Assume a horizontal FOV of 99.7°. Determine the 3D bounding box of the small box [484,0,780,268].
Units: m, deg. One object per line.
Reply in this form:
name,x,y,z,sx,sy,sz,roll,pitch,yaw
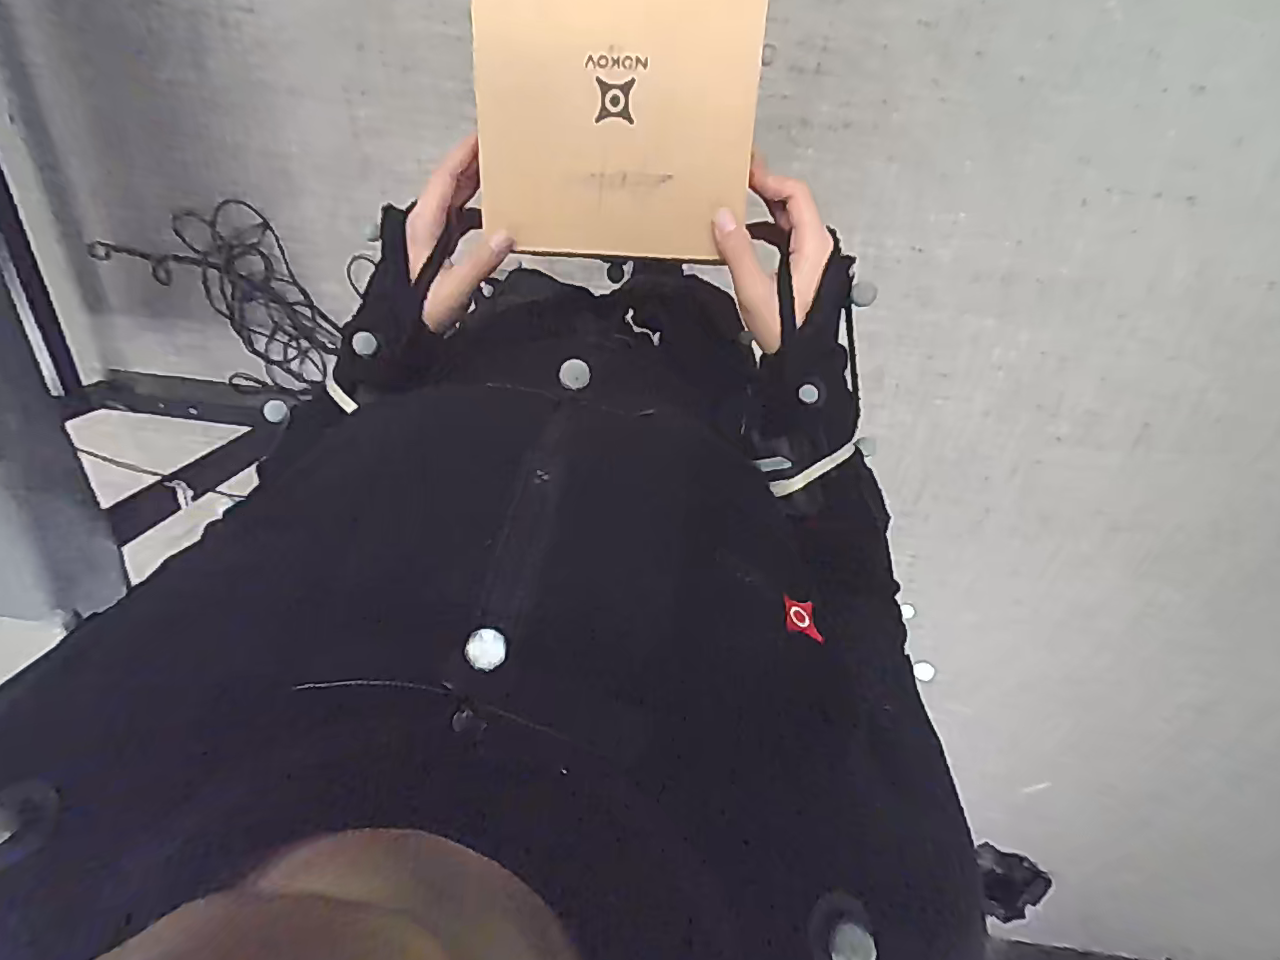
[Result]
small box,-0.004,-0.251,0.386,0.168,0.176,0.179,5,112,3
